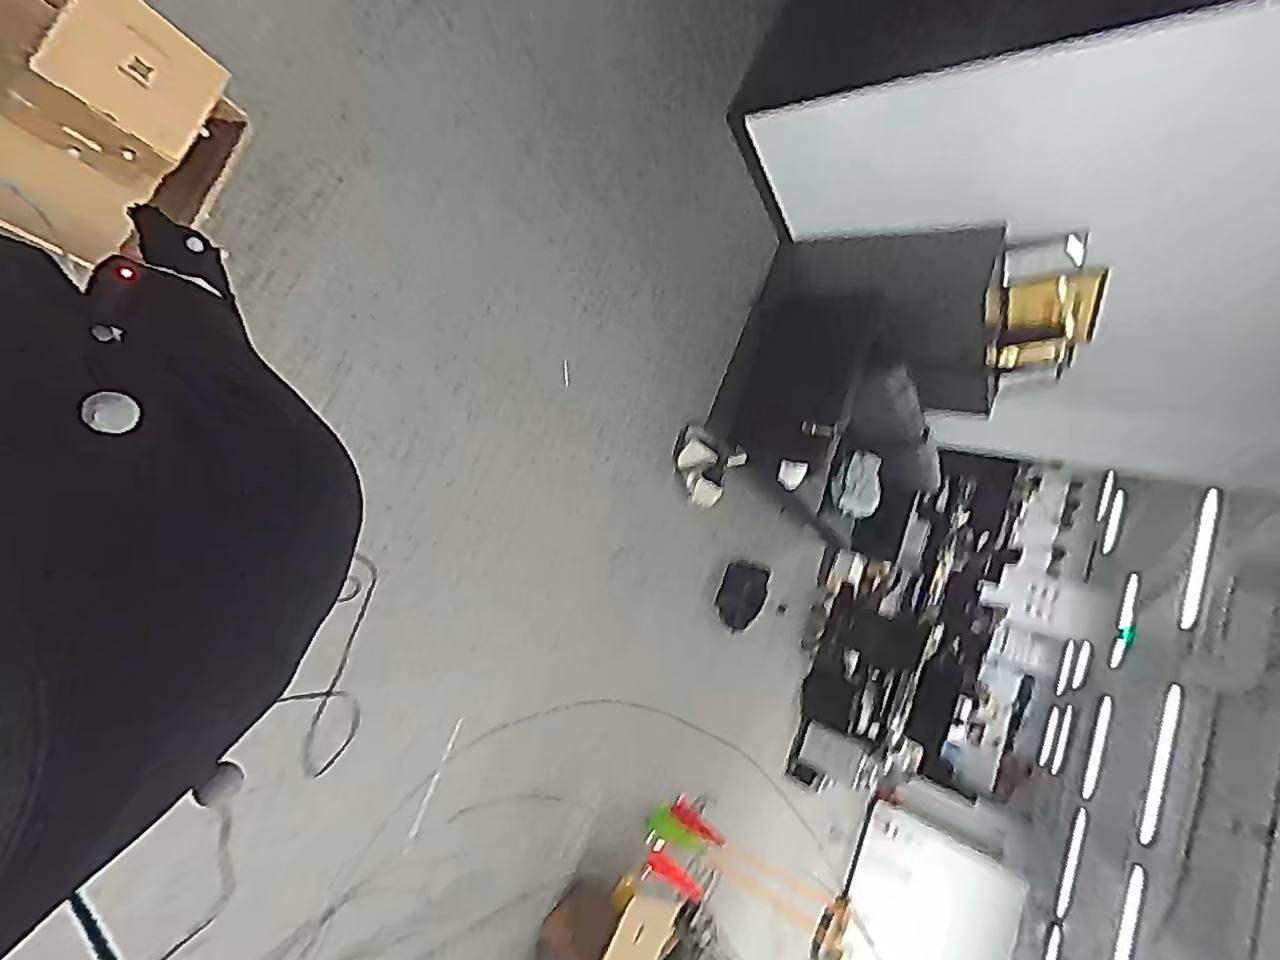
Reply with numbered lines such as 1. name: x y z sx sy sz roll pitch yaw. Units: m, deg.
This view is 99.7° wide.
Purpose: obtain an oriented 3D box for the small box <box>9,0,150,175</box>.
1. small box: -0.903 -0.648 0.907 0.168 0.176 0.179 26 81 -51

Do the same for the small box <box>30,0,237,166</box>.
1. small box: -0.755 -0.607 0.809 0.168 0.176 0.179 33 76 -51
